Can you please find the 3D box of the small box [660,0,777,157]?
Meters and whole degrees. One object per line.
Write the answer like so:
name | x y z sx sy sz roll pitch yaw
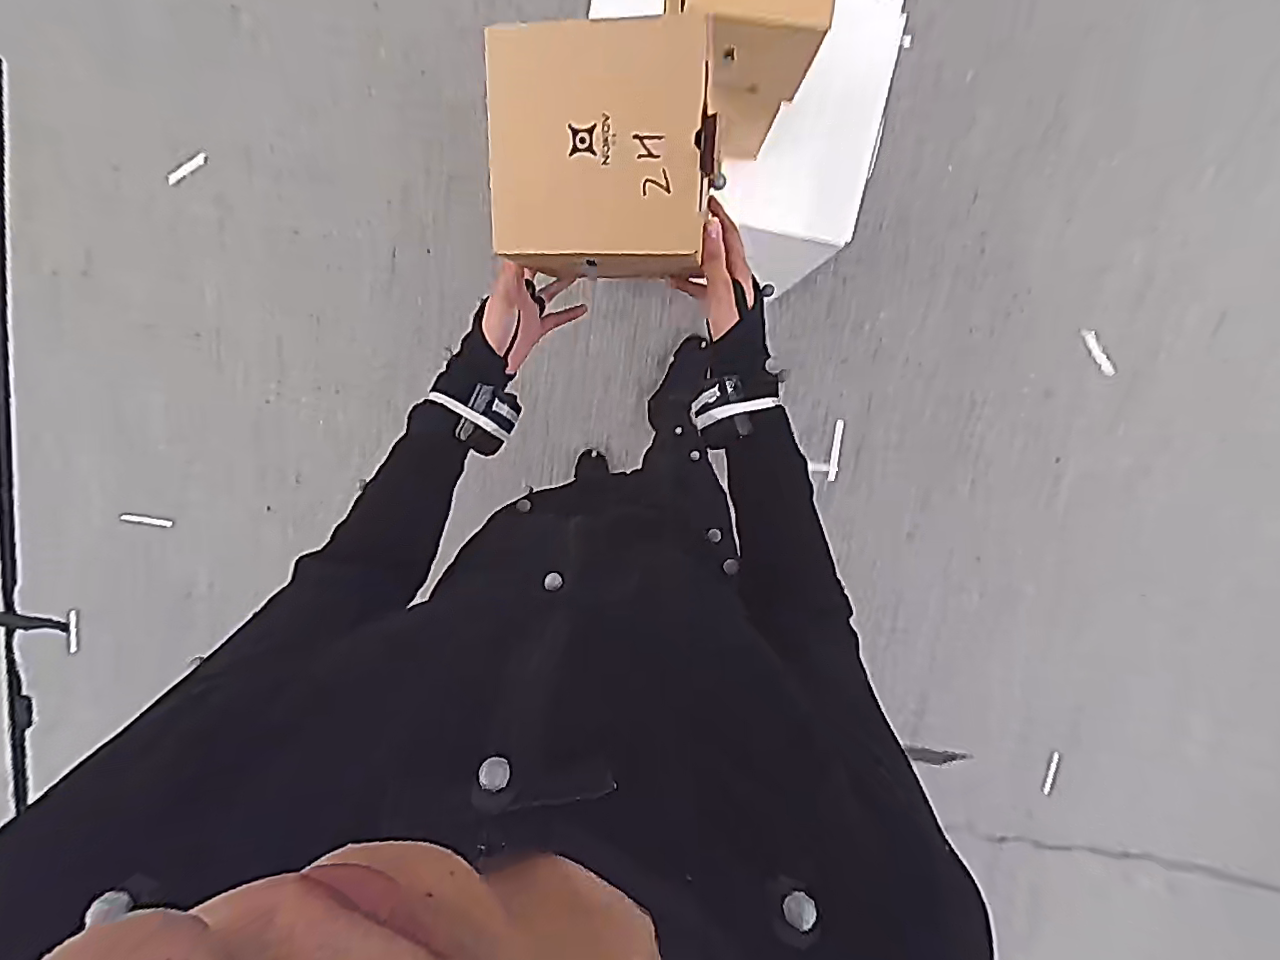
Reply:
small box | 0.114 -0.625 0.837 0.179 0.176 0.168 3 98 -1

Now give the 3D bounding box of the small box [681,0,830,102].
small box | 0.140 -0.613 0.674 0.168 0.176 0.179 6 97 -1

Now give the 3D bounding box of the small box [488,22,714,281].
small box | -0.025 -0.283 0.505 0.179 0.176 0.168 4 104 7
